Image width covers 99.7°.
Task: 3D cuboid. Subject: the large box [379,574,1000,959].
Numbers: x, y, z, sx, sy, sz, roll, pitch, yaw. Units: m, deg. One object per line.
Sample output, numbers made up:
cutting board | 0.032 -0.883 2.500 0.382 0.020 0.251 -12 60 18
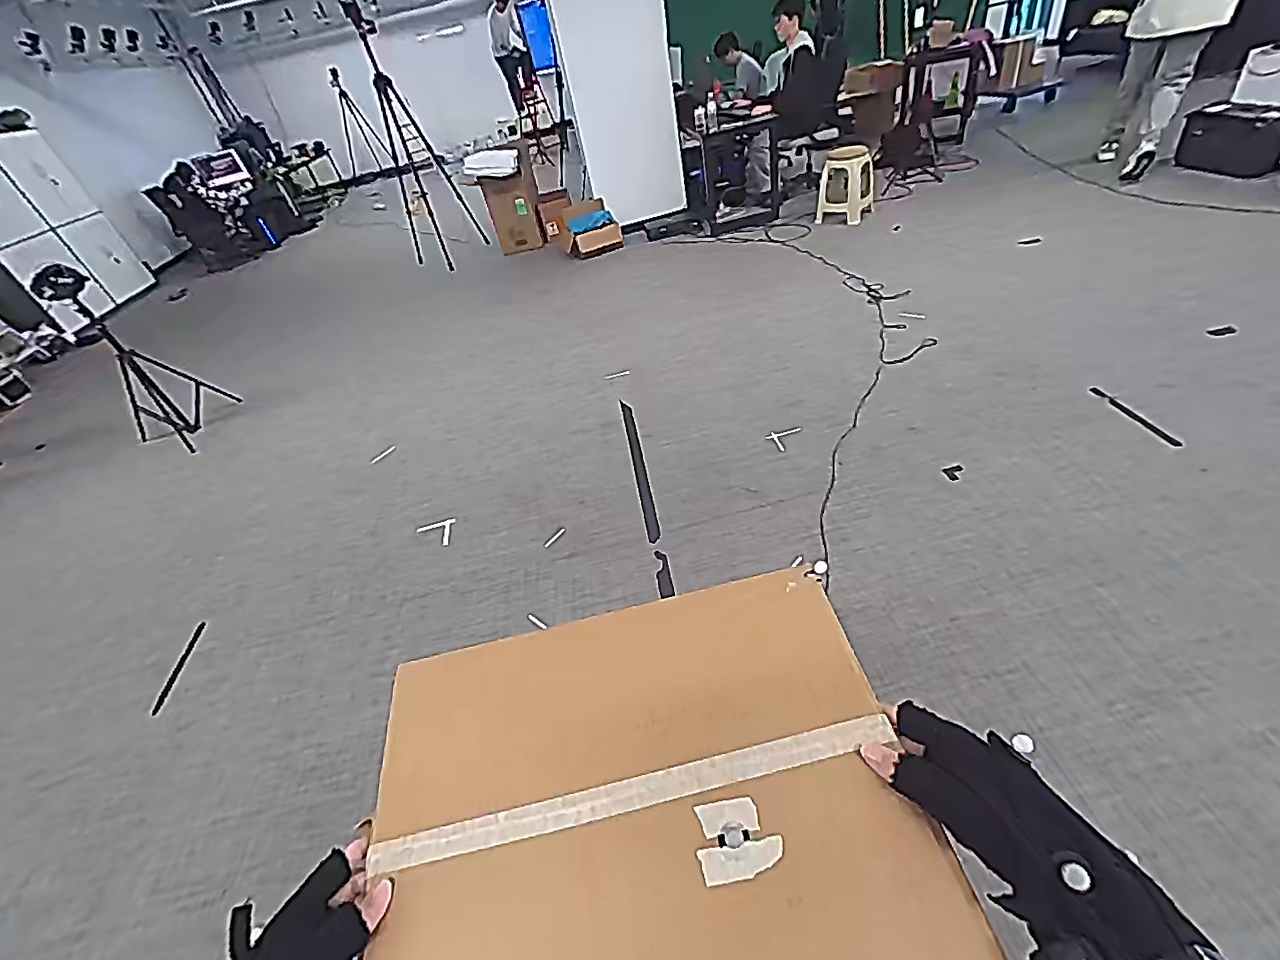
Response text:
large box | 0.021 0.347 0.526 0.408 0.320 0.320 -14 47 -2
